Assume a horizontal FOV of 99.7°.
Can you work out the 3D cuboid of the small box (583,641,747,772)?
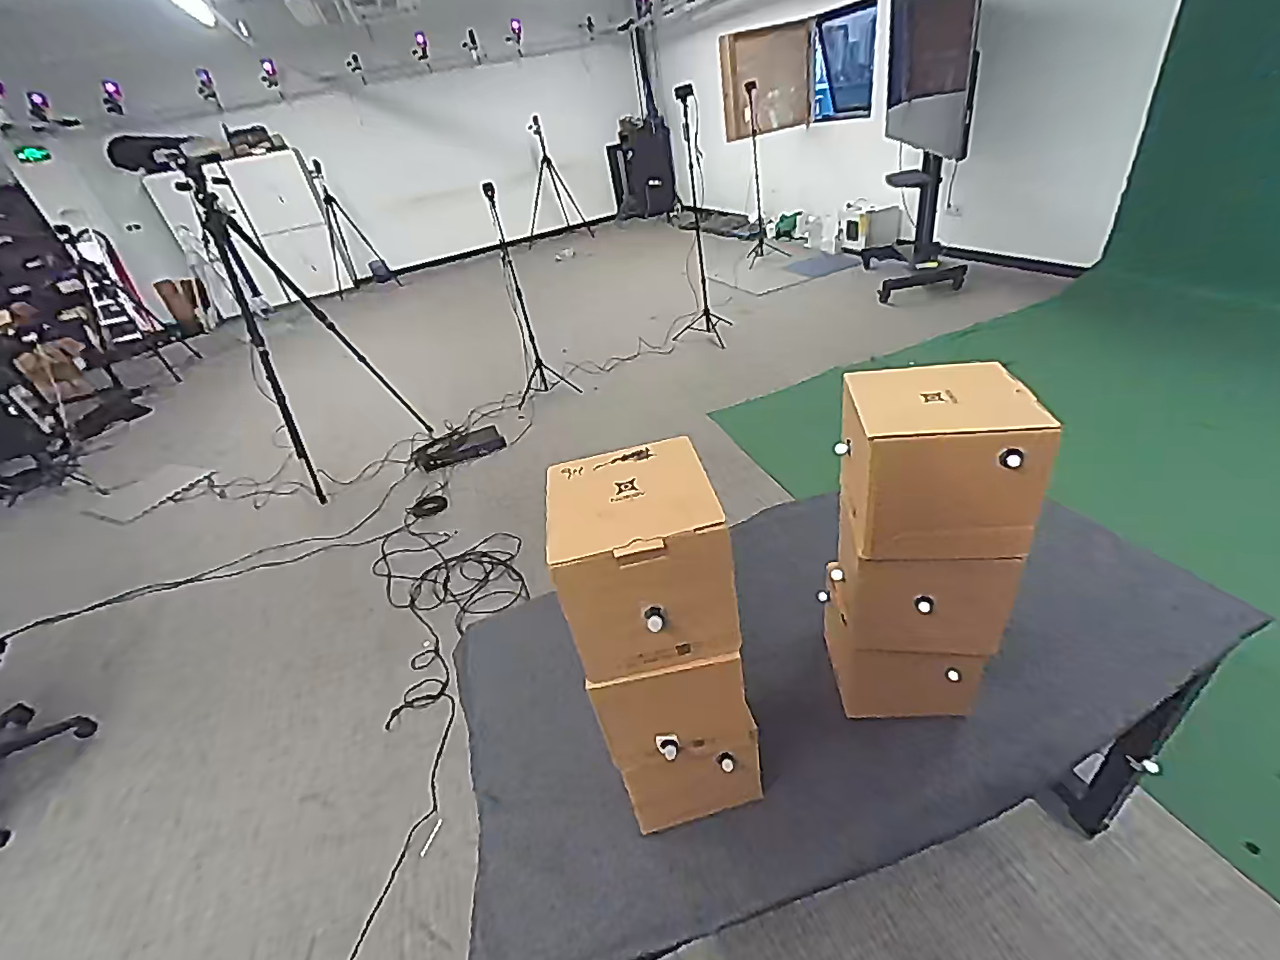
[{"bbox_3d":[0.027,0.221,0.668,0.168,0.176,0.179,-13,34,0],"label":"small box"}]

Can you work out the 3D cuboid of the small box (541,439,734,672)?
[{"bbox_3d":[-0.003,0.084,0.583,0.168,0.176,0.179,-13,34,0],"label":"small box"}]

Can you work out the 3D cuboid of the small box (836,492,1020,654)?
[{"bbox_3d":[0.363,0.112,0.720,0.179,0.176,0.168,-2,34,15],"label":"small box"}]

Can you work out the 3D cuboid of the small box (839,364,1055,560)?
[{"bbox_3d":[0.333,-0.020,0.630,0.179,0.176,0.168,-3,34,12],"label":"small box"}]

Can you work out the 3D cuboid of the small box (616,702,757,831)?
[{"bbox_3d":[0.055,0.352,0.760,0.179,0.176,0.168,-15,33,-4],"label":"small box"}]
